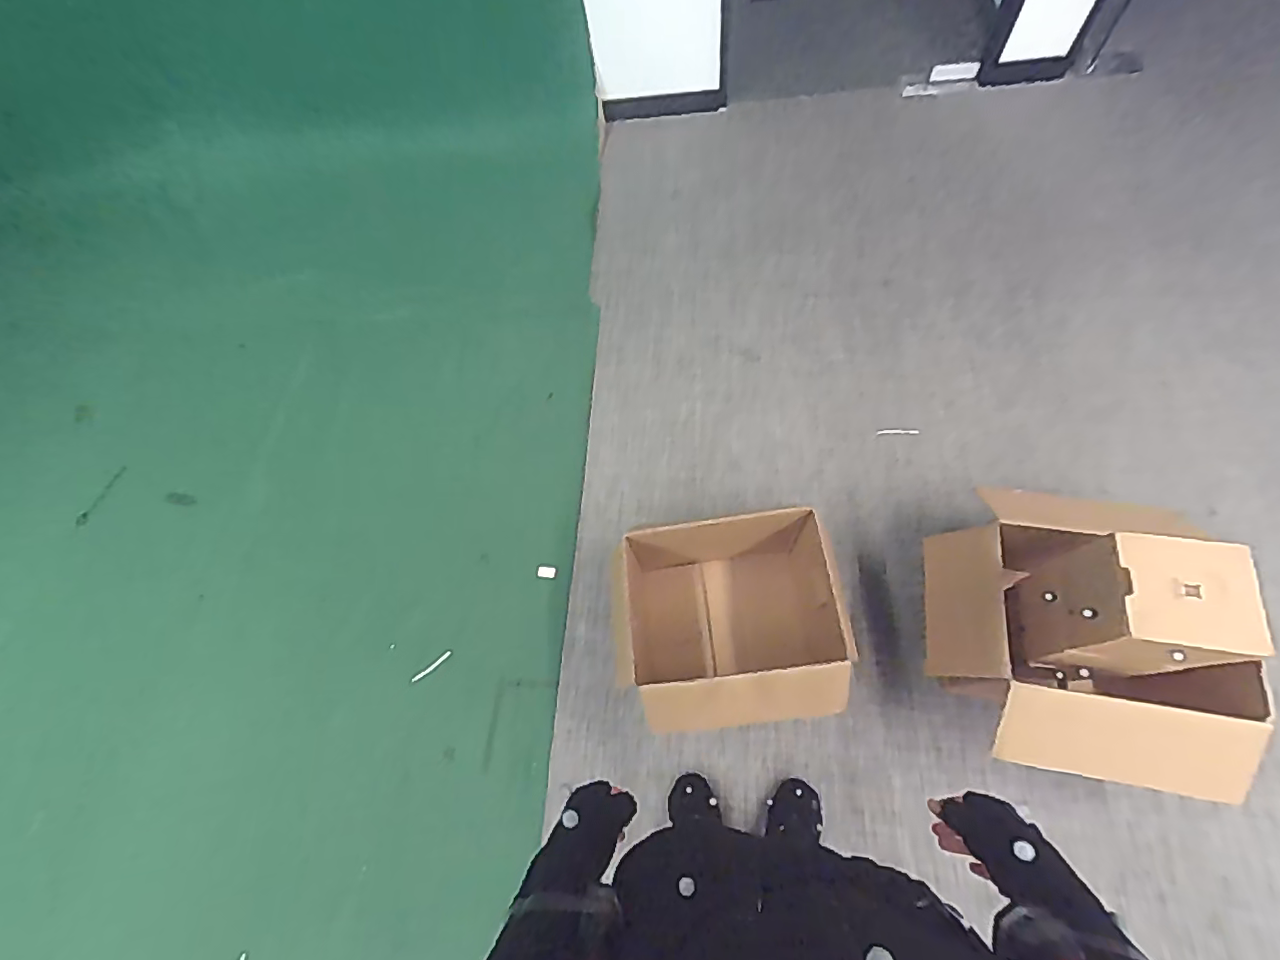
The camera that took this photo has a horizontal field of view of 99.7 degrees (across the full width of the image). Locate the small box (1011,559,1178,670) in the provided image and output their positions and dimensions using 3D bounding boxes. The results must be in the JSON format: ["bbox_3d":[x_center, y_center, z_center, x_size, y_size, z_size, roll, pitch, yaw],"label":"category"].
[{"bbox_3d":[0.848,0.261,1.028,0.179,0.176,0.168,5,66,12],"label":"small box"}]

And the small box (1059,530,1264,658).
[{"bbox_3d":[0.824,0.191,0.883,0.179,0.176,0.168,5,69,11],"label":"small box"}]
